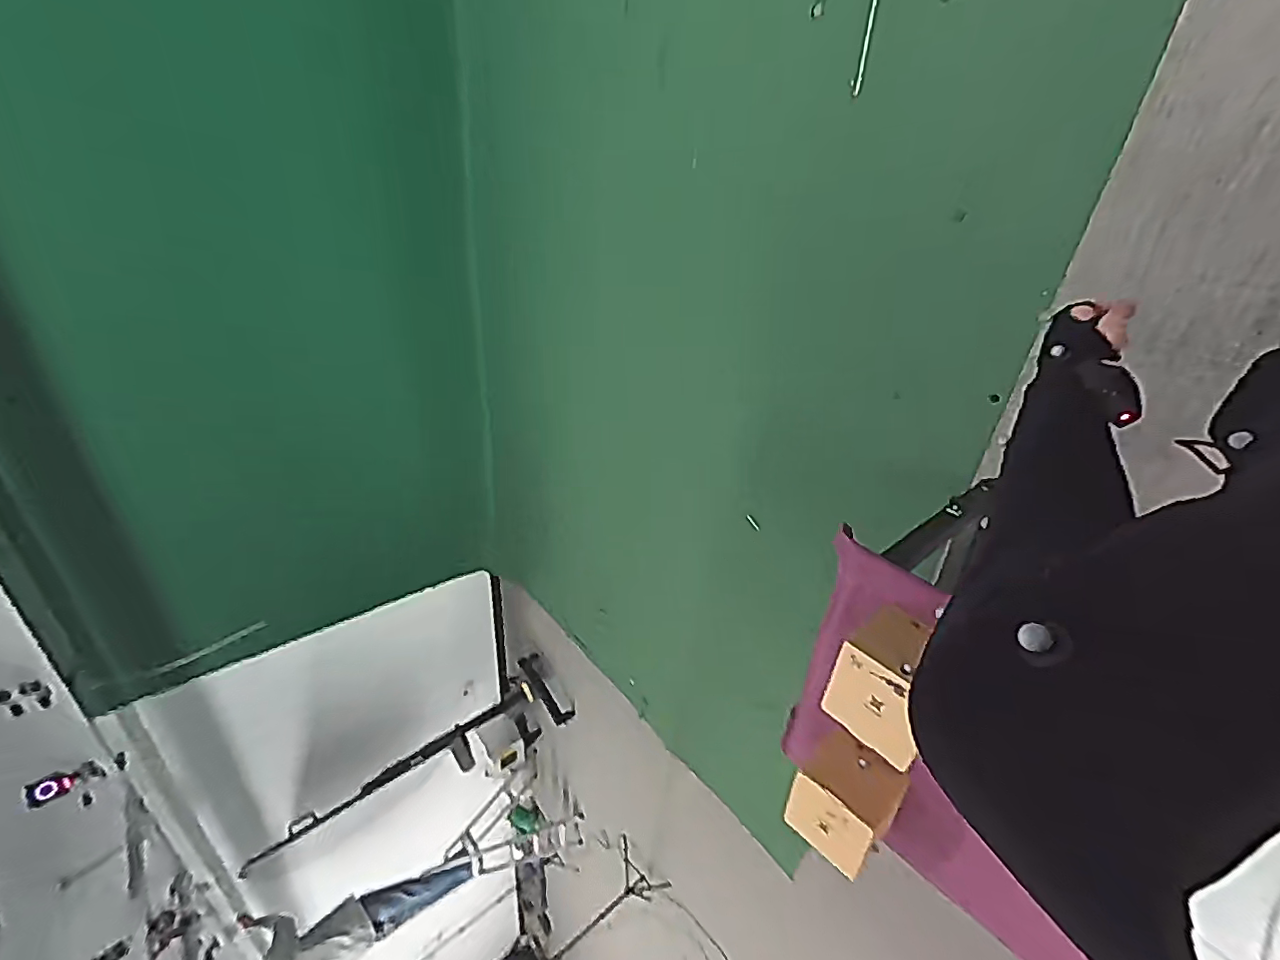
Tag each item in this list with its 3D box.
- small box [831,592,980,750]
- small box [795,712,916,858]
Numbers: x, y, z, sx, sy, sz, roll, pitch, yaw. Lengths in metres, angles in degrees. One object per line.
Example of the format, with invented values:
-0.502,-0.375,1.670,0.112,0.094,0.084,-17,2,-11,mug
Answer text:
0.485,0.340,0.990,0.168,0.176,0.179,33,130,39,small box
0.464,0.648,1.166,0.168,0.176,0.179,29,127,39,small box
